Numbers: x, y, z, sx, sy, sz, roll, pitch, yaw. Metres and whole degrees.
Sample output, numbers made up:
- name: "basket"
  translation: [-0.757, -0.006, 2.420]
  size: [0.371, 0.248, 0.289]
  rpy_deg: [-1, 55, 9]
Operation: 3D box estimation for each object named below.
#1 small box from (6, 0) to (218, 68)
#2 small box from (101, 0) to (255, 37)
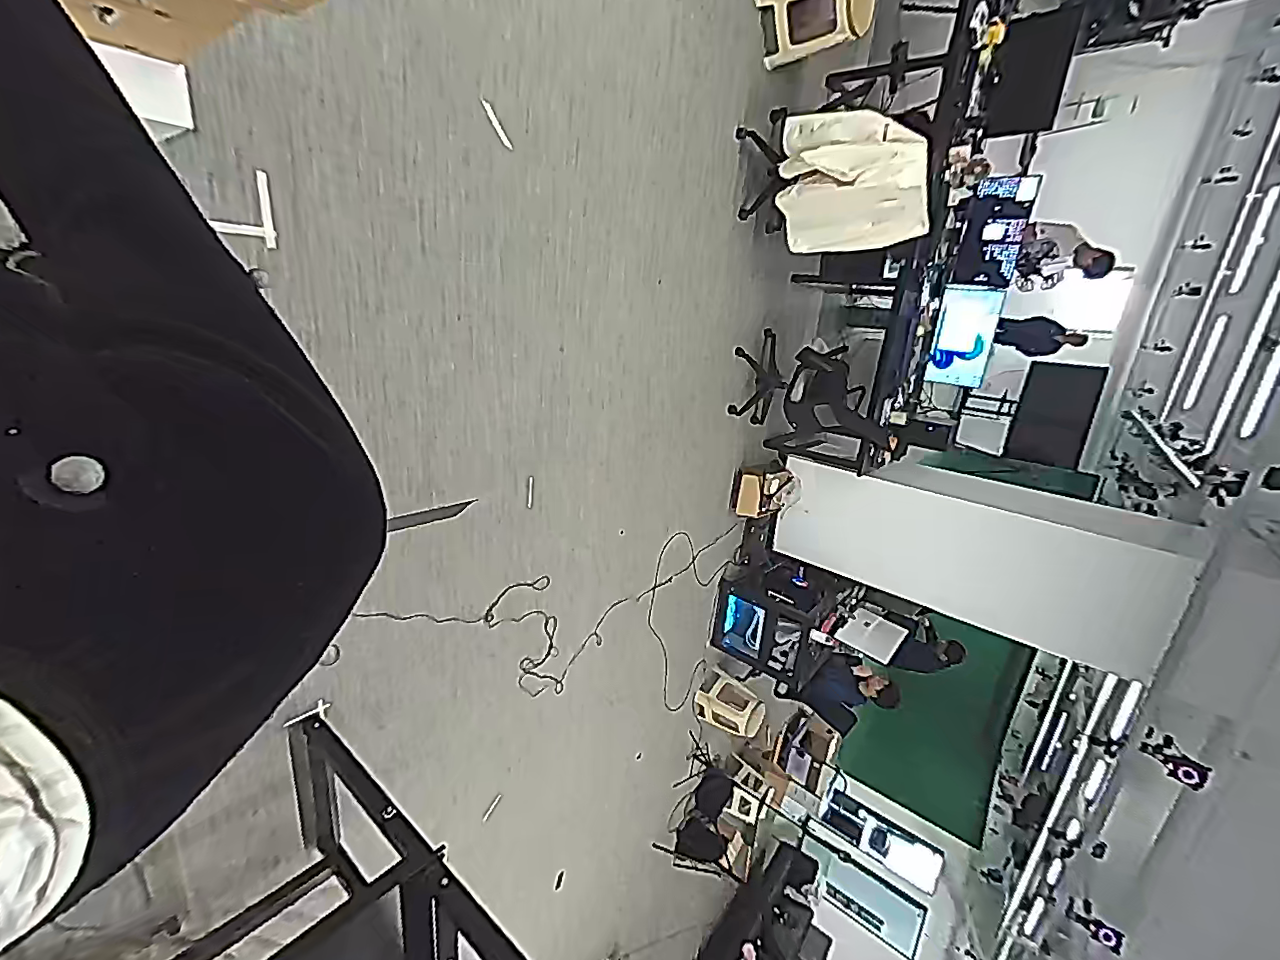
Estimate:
- name: "small box"
  translation: [-0.623, -0.616, 0.620]
  size: [0.168, 0.176, 0.179]
  rpy_deg: [-19, 119, -47]
- name: "small box"
  translation: [-0.496, -0.574, 0.524]
  size: [0.168, 0.176, 0.179]
  rpy_deg: [-18, 119, -48]
